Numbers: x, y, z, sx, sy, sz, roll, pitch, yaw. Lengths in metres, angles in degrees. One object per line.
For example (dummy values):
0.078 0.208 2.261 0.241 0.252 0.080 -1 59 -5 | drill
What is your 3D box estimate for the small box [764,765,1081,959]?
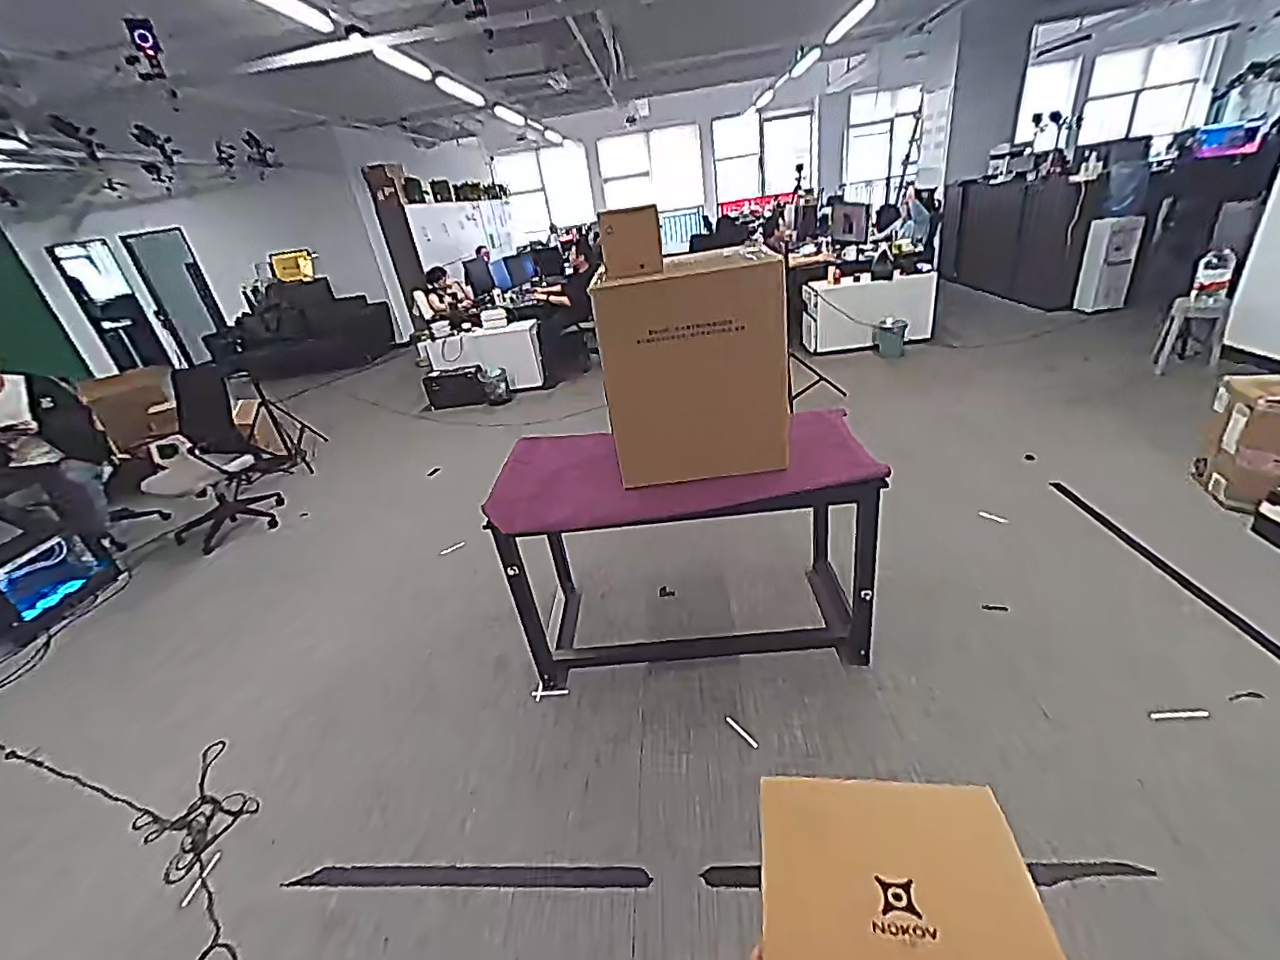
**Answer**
0.170 0.325 0.356 0.168 0.176 0.179 -4 21 12 | small box
